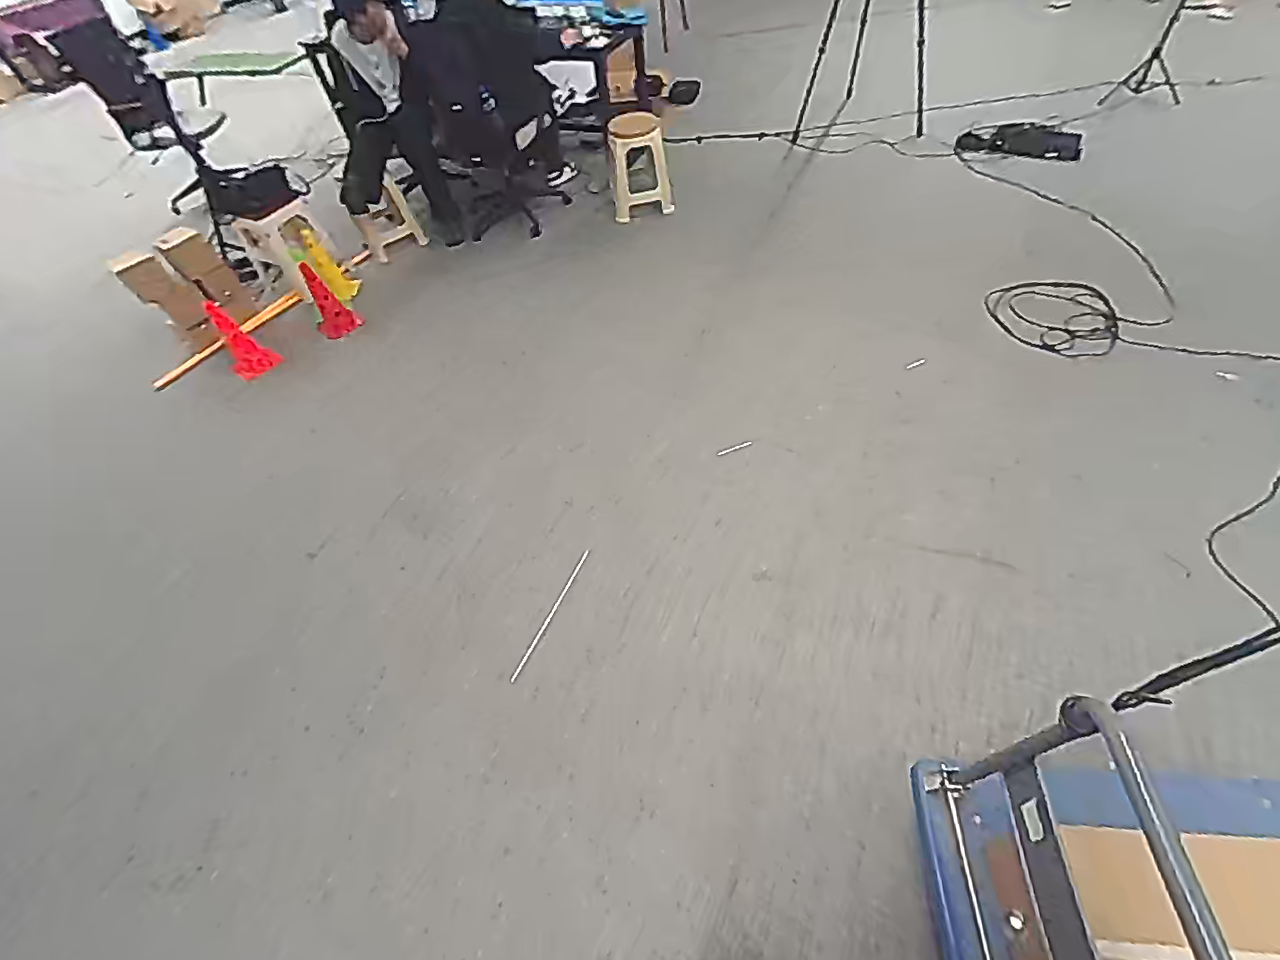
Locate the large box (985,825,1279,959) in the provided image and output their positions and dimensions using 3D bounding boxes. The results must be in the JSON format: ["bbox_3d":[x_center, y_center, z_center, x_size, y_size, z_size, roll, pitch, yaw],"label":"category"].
[{"bbox_3d":[0.883,0.783,0.892,0.408,0.320,0.320,0,52,7],"label":"large box"}]
